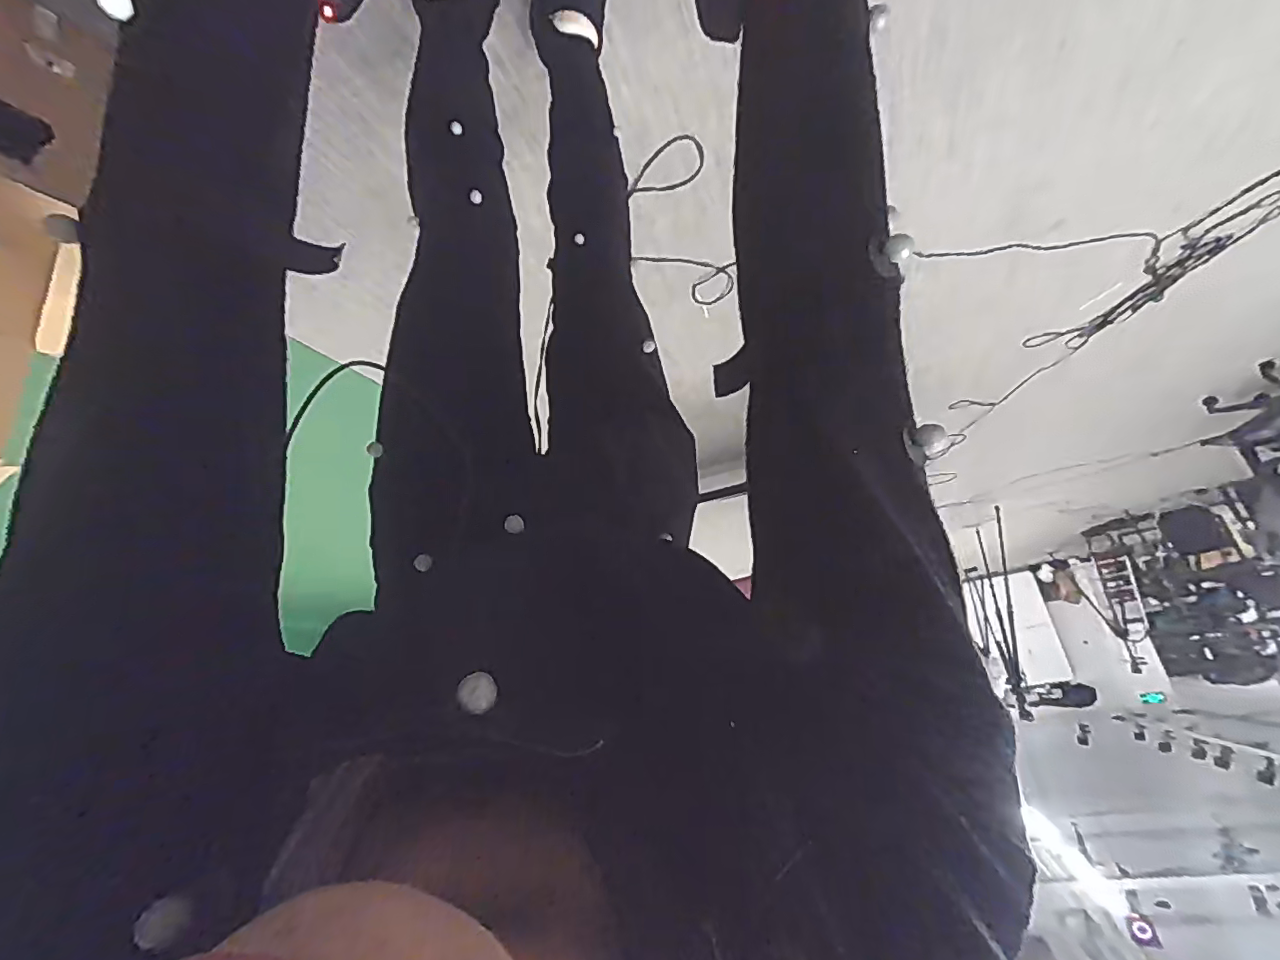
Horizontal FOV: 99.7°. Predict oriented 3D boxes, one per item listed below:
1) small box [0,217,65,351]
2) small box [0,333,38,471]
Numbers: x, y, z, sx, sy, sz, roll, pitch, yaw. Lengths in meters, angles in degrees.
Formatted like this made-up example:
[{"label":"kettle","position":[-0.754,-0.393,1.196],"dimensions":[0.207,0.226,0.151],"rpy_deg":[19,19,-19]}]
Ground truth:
[{"label":"small box","position":[-0.895,-0.243,0.698],"dimensions":[0.179,0.176,0.168],"rpy_deg":[-21,157,27]},{"label":"small box","position":[-0.865,-0.097,0.631],"dimensions":[0.168,0.176,0.179],"rpy_deg":[-20,157,26]}]
